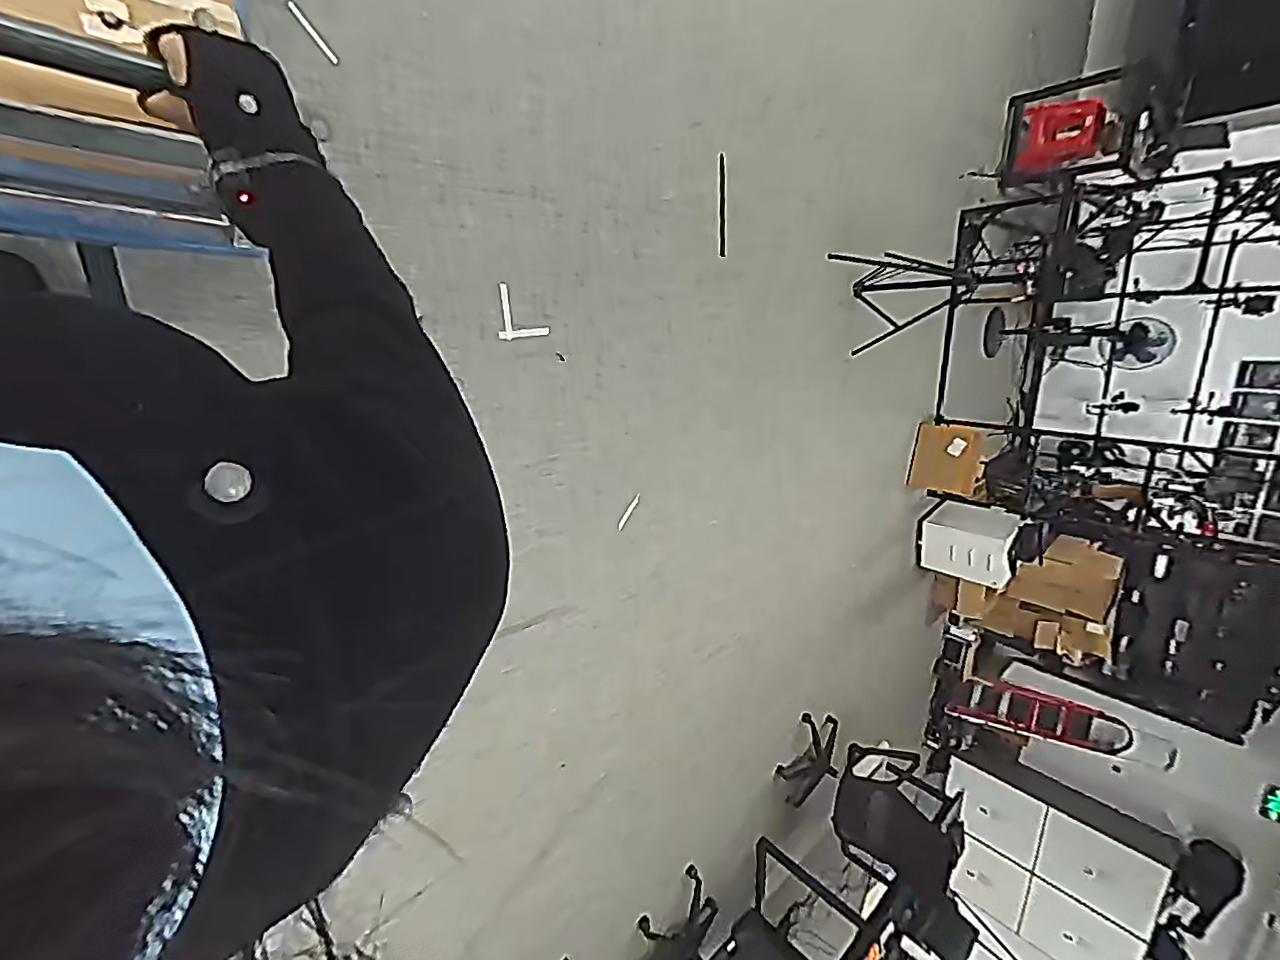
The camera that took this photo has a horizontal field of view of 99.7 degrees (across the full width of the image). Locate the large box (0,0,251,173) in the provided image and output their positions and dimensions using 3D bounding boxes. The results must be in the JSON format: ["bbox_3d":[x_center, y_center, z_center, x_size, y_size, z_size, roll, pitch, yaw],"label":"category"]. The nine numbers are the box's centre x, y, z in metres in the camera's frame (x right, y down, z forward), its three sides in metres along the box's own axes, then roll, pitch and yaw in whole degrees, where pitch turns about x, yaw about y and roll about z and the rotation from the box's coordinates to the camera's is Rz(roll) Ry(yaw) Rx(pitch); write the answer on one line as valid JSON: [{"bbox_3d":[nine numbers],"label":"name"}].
[{"bbox_3d":[-0.825,-0.649,0.736,0.408,0.320,0.320,-15,112,-41],"label":"large box"}]
